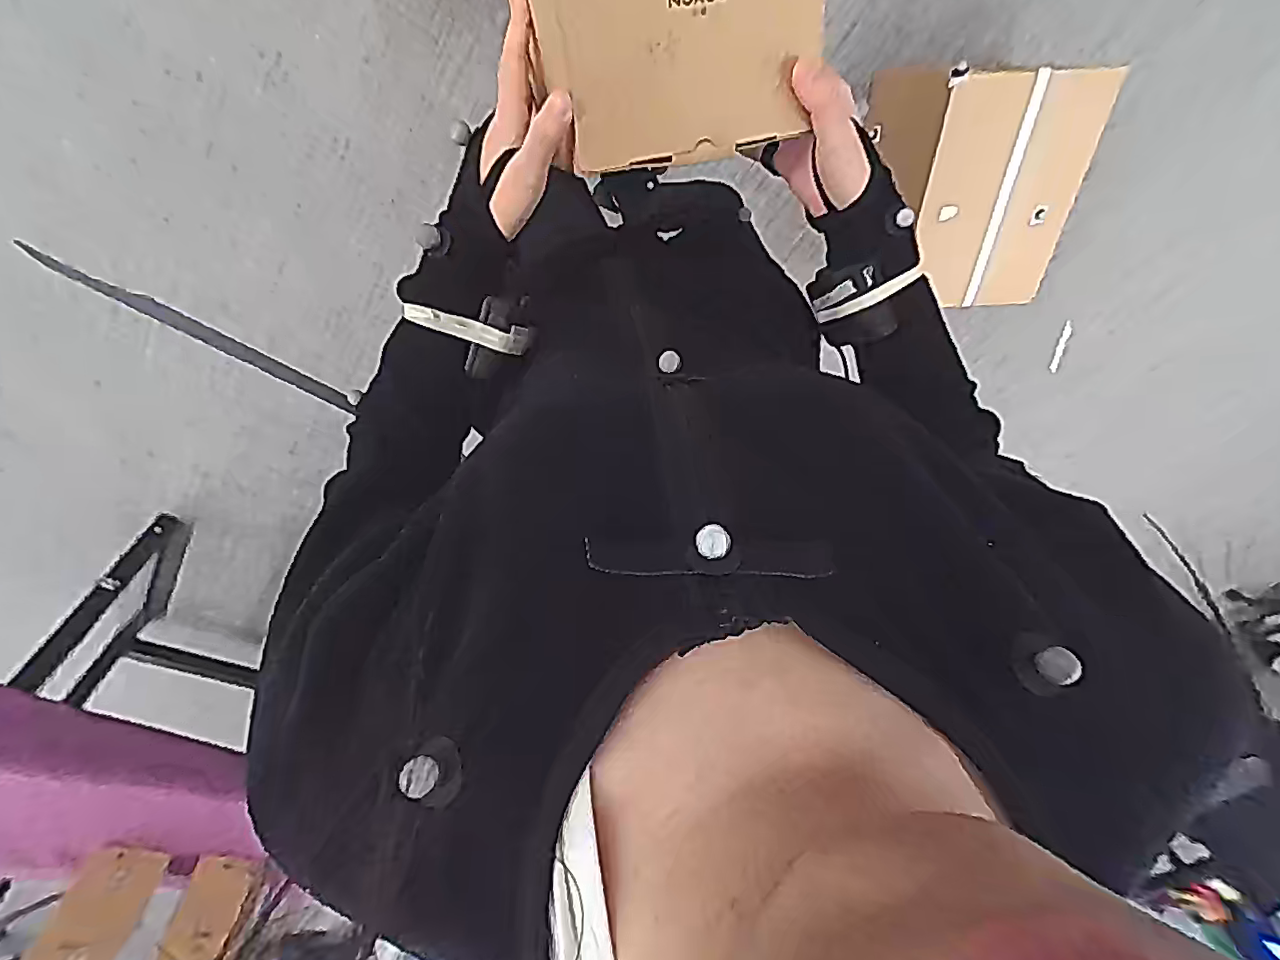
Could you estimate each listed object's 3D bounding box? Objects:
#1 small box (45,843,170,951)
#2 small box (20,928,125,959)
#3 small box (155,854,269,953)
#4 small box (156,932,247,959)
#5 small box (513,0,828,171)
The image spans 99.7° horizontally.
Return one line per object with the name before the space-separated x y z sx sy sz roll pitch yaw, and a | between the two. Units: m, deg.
small box | -1.311 1.029 1.331 0.168 0.176 0.179 29 118 -26
small box | -1.301 1.128 1.202 0.168 0.176 0.179 26 119 -25
small box | -1.116 1.115 1.422 0.168 0.176 0.179 29 119 -25
small box | -1.092 1.223 1.302 0.168 0.176 0.179 31 116 -27
small box | 0.009 -0.326 0.361 0.168 0.176 0.179 -17 127 -10
